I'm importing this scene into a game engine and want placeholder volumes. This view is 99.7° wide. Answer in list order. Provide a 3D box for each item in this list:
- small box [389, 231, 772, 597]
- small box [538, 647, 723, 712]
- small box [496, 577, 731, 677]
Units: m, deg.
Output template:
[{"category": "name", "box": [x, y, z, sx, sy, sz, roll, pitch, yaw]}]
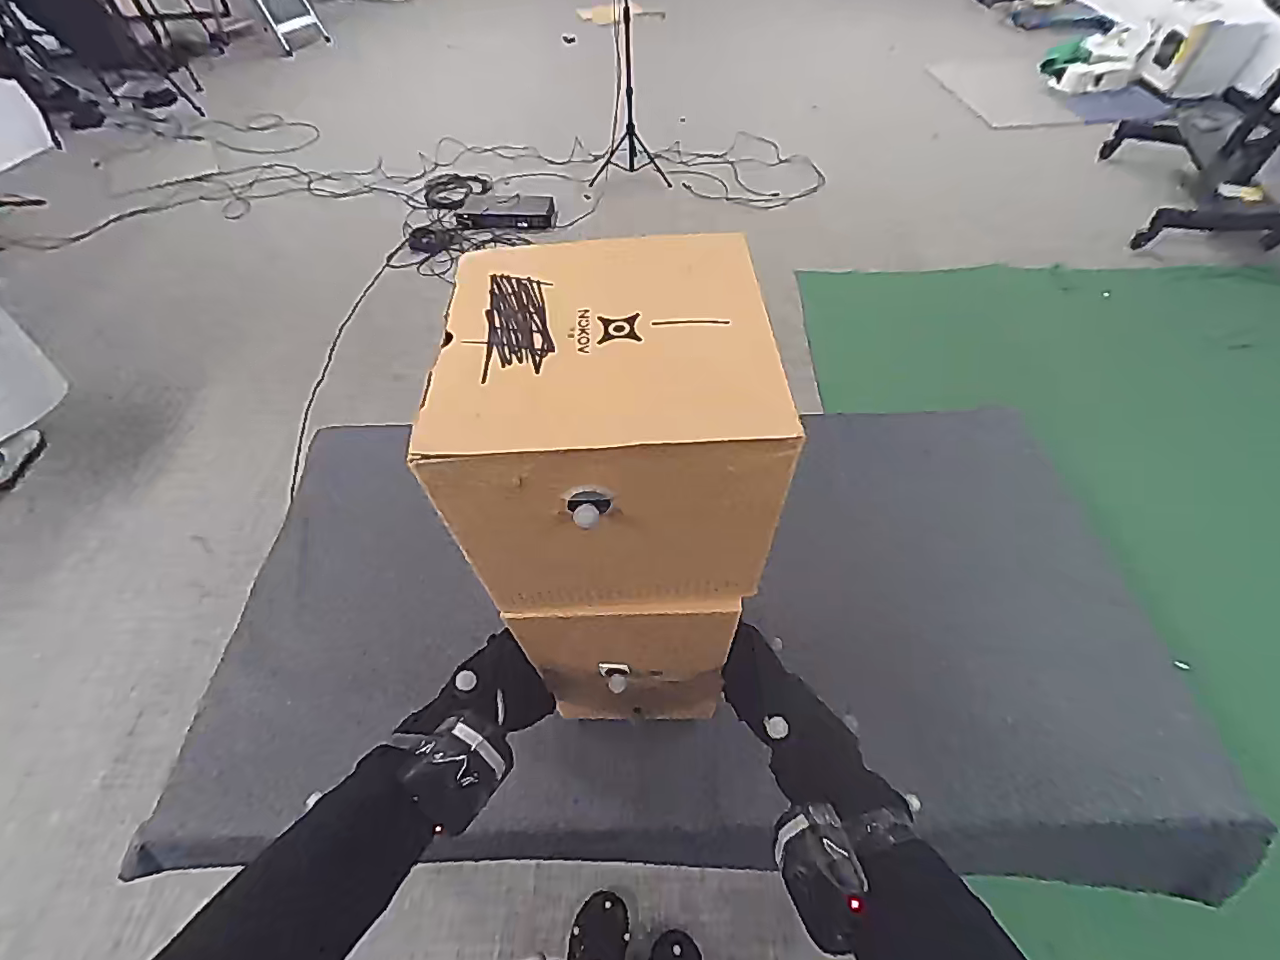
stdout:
[{"category": "small box", "box": [-0.024, -0.033, 0.349, 0.179, 0.176, 0.168, -3, 54, 1]}, {"category": "small box", "box": [-0.007, 0.158, 0.614, 0.179, 0.176, 0.168, 0, 54, 1]}, {"category": "small box", "box": [-0.014, 0.064, 0.482, 0.168, 0.176, 0.179, -2, 56, 3]}]
